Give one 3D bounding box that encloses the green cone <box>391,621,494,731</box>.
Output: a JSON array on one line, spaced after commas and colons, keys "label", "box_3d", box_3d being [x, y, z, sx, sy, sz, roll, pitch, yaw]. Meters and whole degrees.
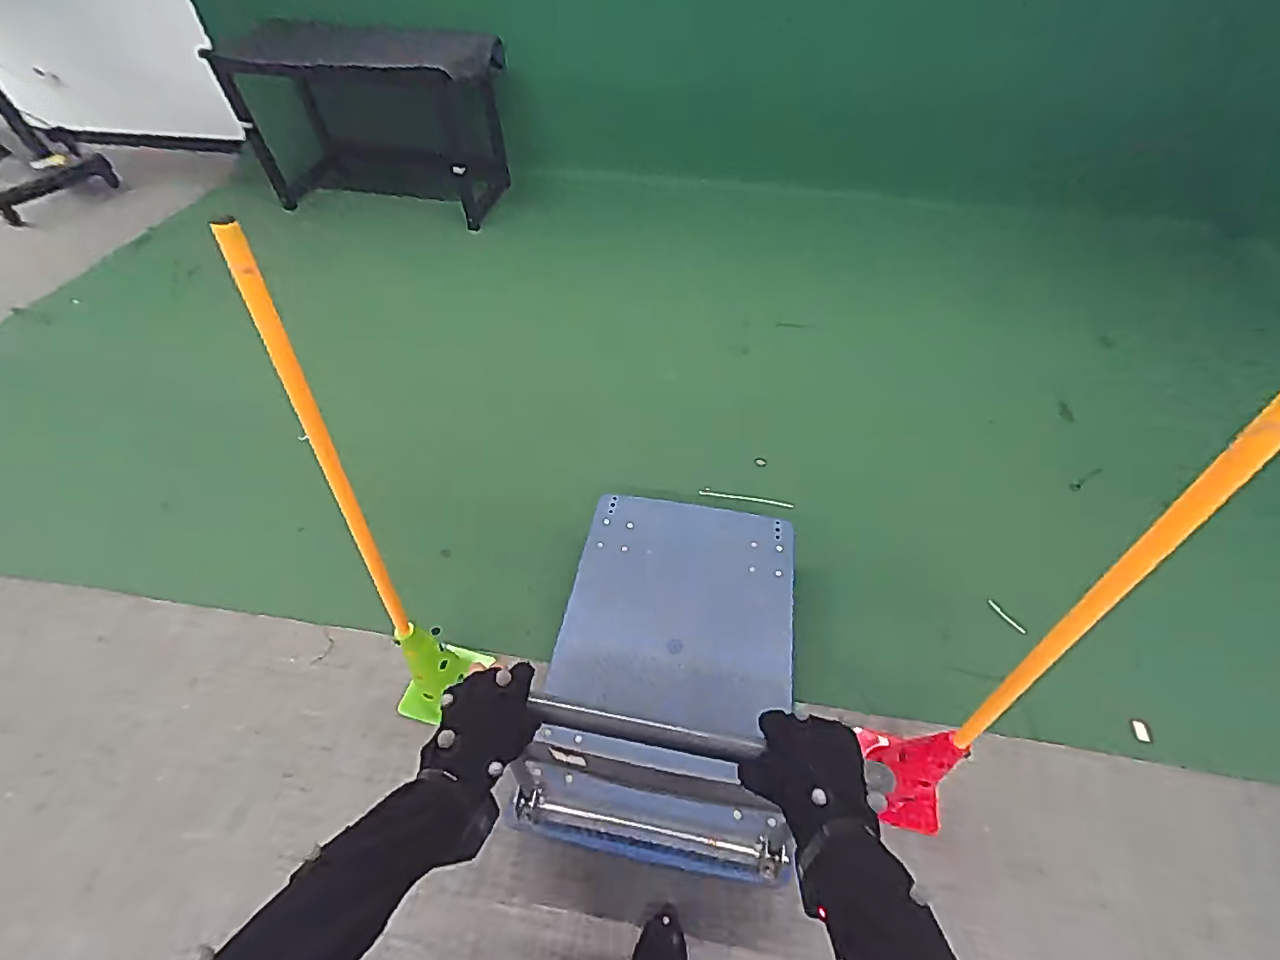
[{"label": "green cone", "box_3d": [-0.513, 0.436, 1.309, 0.202, 0.368, 0.200, 11, 51, 9]}]
